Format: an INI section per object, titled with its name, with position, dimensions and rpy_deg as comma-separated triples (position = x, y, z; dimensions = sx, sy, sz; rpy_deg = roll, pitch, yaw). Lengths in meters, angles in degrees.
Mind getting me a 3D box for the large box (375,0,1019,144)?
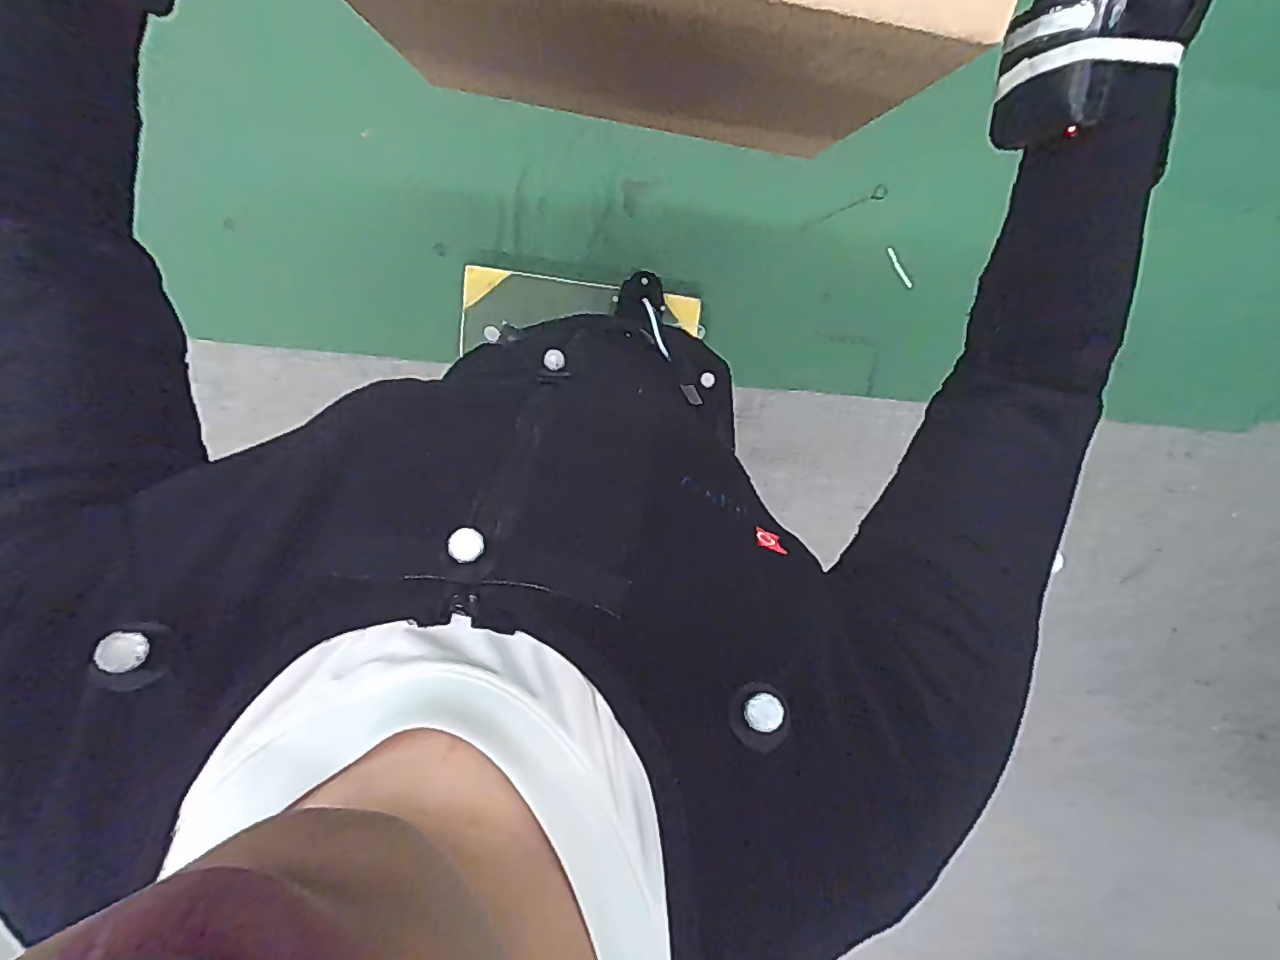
[large box]
position = 0.022, -0.465, 0.368
dimensions = 0.408, 0.320, 0.320
rpy_deg = 7, 111, -5
